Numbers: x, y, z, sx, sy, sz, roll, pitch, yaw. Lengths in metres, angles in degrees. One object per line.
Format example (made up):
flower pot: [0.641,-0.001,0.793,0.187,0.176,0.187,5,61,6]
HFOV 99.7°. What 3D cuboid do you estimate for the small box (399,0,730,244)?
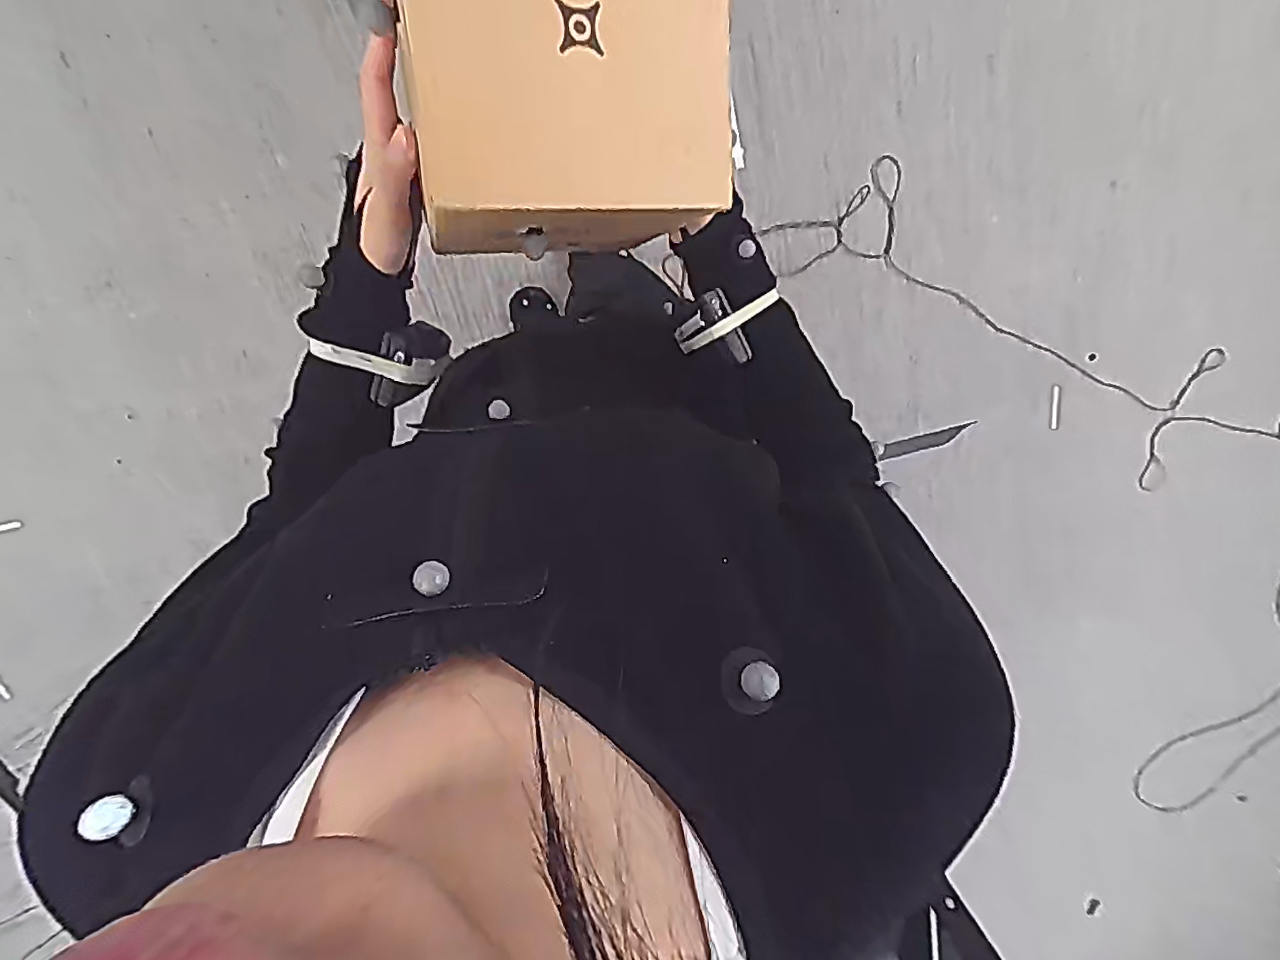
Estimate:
small box: [-0.056,-0.251,0.338,0.168,0.176,0.179,-10,106,-18]
